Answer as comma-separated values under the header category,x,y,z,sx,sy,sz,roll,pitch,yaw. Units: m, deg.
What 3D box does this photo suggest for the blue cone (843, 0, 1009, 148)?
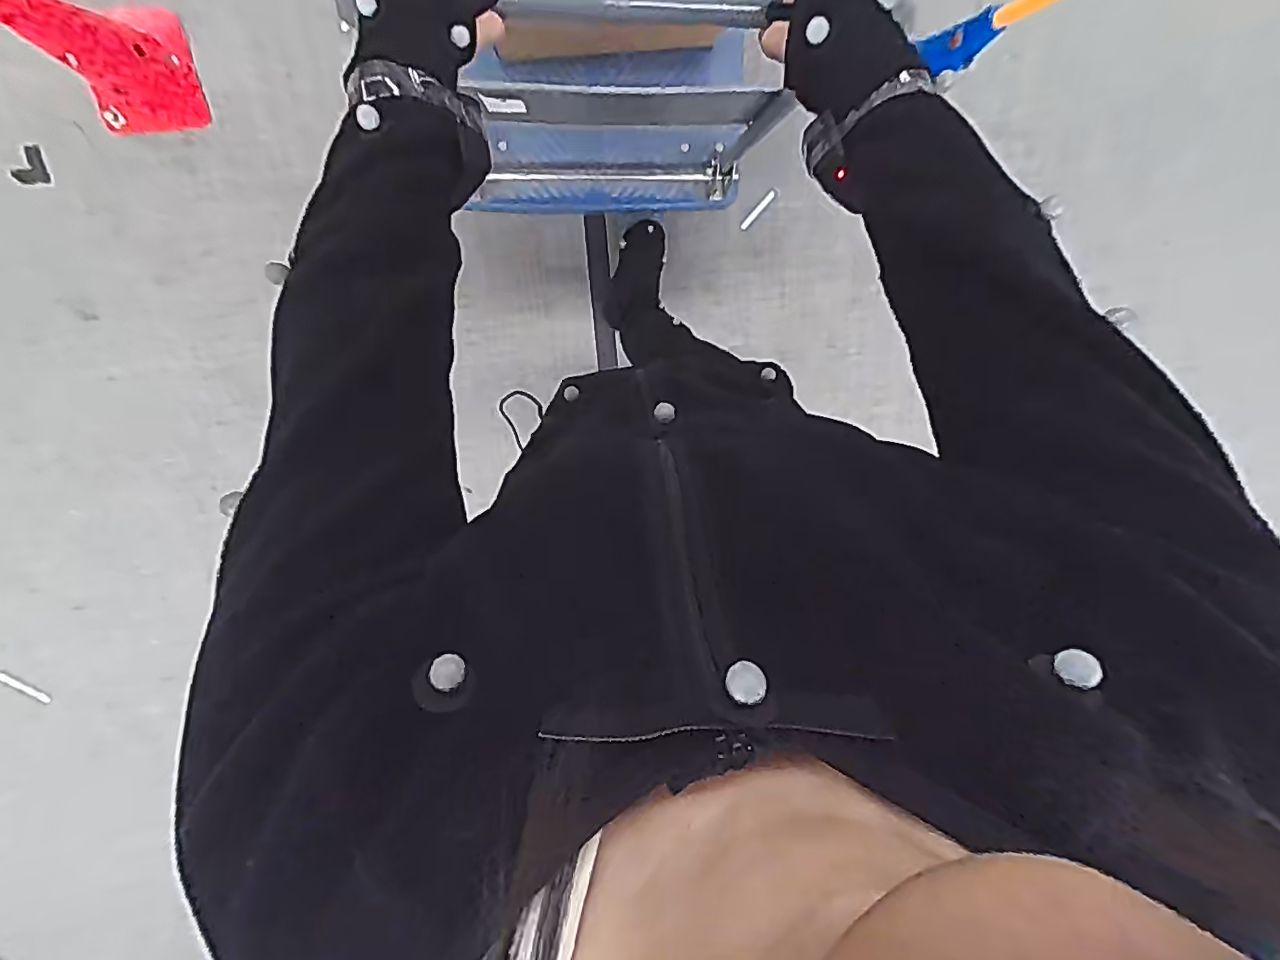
category,x,y,z,sx,sy,sz,roll,pitch,yaw
blue cone,0.579,-0.826,1.079,0.193,0.380,0.192,-11,108,-4
